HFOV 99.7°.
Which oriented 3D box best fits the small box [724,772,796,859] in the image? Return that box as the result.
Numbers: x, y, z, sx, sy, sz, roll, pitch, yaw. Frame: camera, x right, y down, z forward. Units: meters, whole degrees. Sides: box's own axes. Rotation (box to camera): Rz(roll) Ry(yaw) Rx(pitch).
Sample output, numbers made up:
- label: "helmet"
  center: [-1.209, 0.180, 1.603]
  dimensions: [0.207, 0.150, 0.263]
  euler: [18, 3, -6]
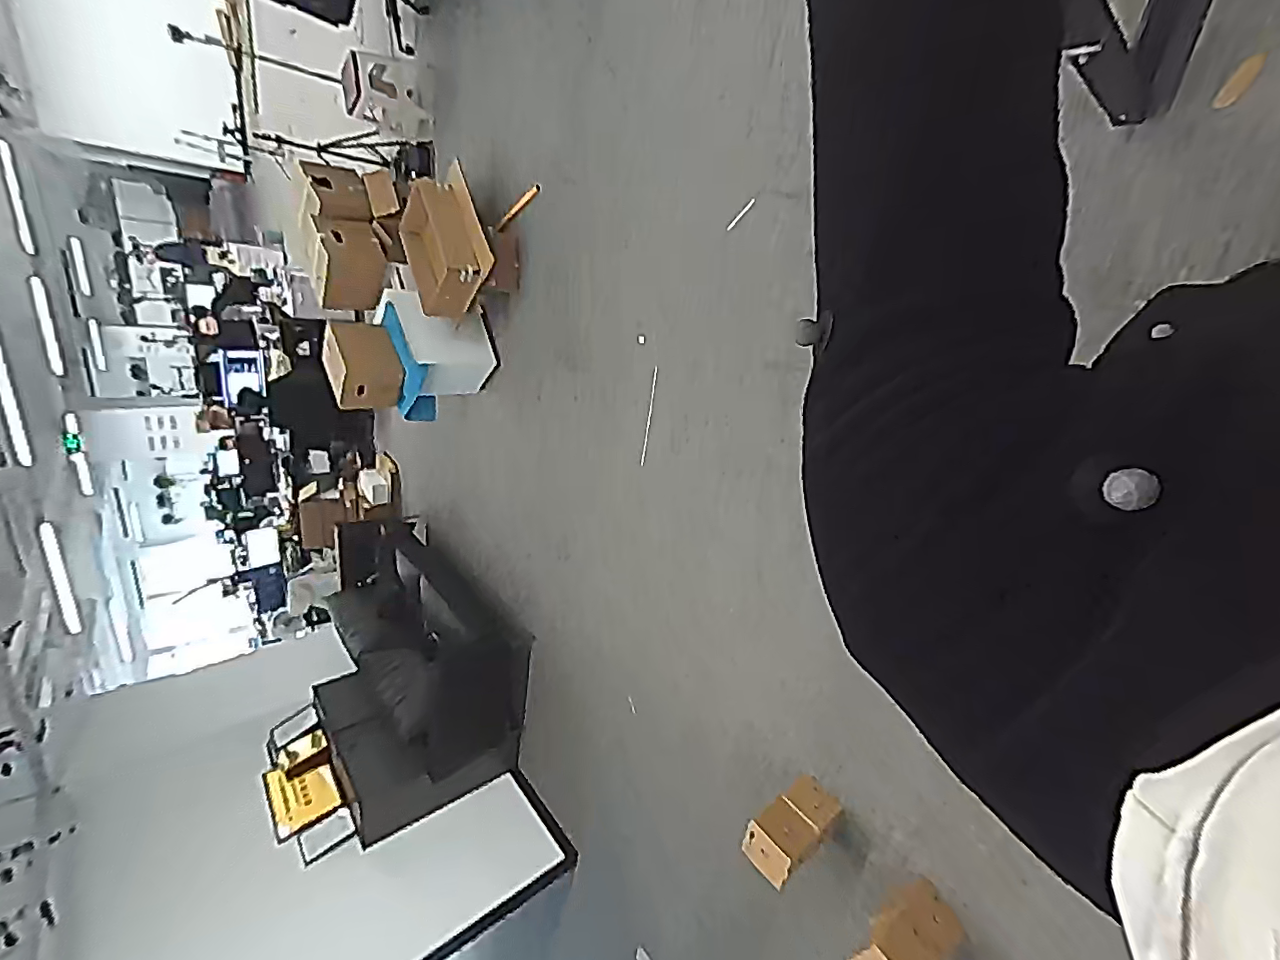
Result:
- label: "small box"
  center: [0.438, 1.211, 1.966]
  dimensions: [0.179, 0.176, 0.168]
  euler: [32, 122, 38]

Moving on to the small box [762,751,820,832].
- label: "small box"
  center: [0.564, 1.183, 2.068]
  dimensions: [0.168, 0.176, 0.179]
  euler: [31, 122, 40]

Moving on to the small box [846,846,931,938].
- label: "small box"
  center: [0.836, 1.368, 1.804]
  dimensions: [0.168, 0.176, 0.179]
  euler: [50, 133, 28]
